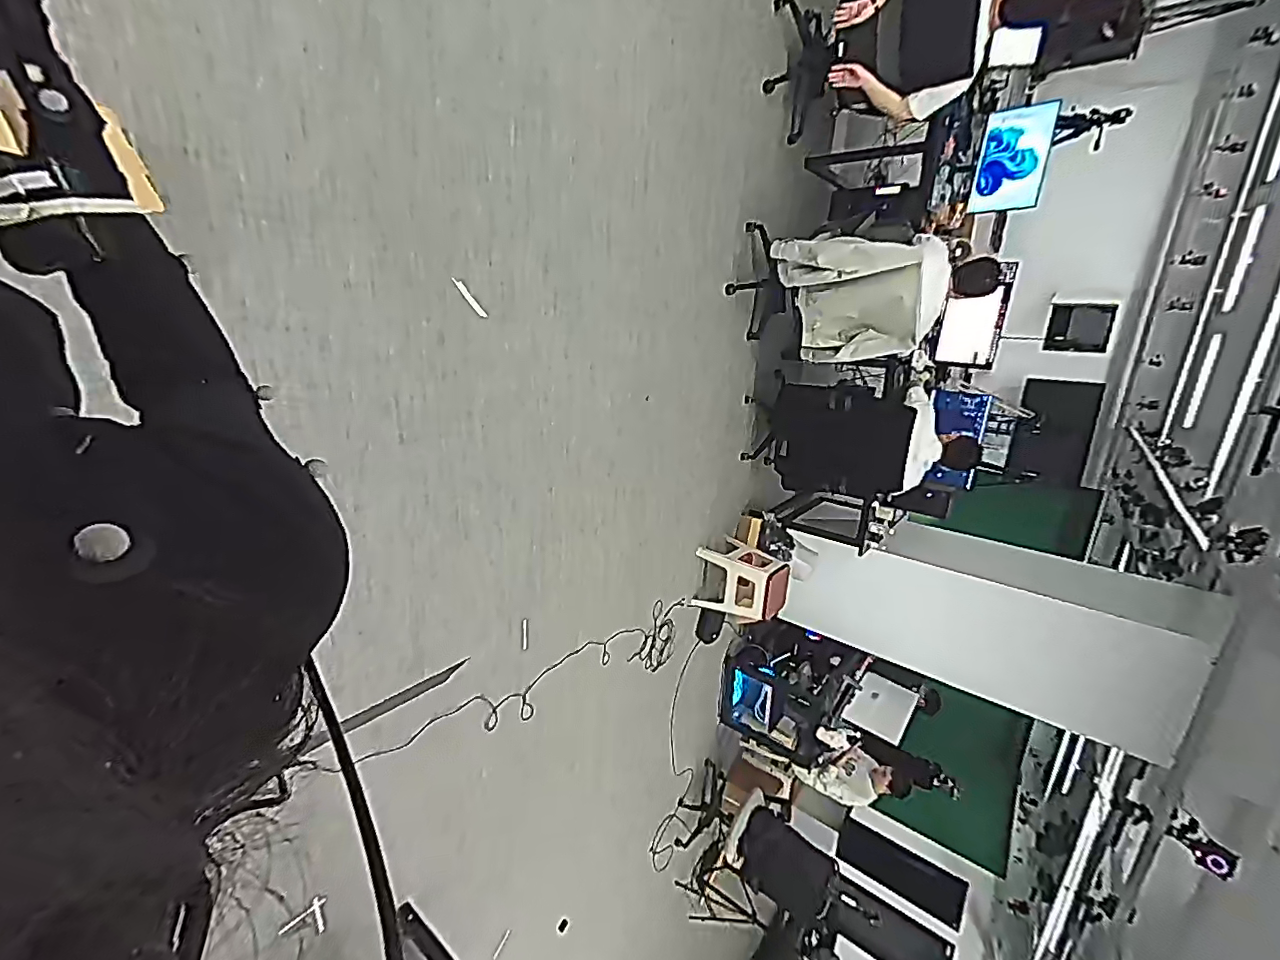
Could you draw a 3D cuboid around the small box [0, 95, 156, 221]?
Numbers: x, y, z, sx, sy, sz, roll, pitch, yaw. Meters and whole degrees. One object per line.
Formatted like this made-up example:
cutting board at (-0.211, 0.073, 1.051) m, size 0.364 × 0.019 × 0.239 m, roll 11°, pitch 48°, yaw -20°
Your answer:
small box at (-1.013, -0.557, 0.942) m, size 0.179 × 0.176 × 0.168 m, roll -39°, pitch 131°, yaw -40°
